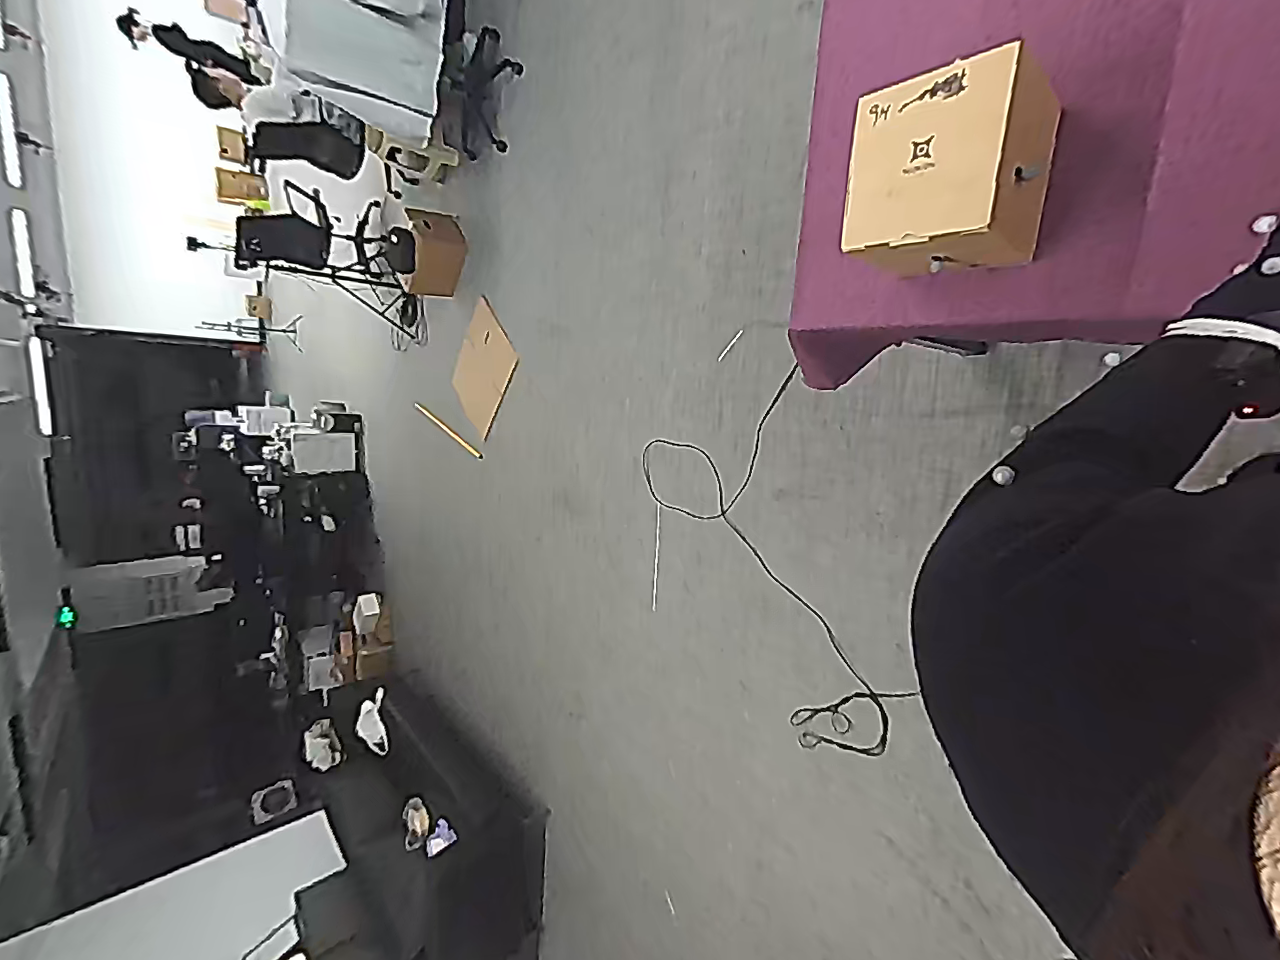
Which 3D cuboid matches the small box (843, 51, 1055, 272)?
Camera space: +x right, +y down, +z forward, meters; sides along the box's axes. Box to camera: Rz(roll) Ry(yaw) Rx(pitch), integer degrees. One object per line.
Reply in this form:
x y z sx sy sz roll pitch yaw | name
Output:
0.374 -0.359 0.657 0.168 0.176 0.179 15 105 47 | small box
